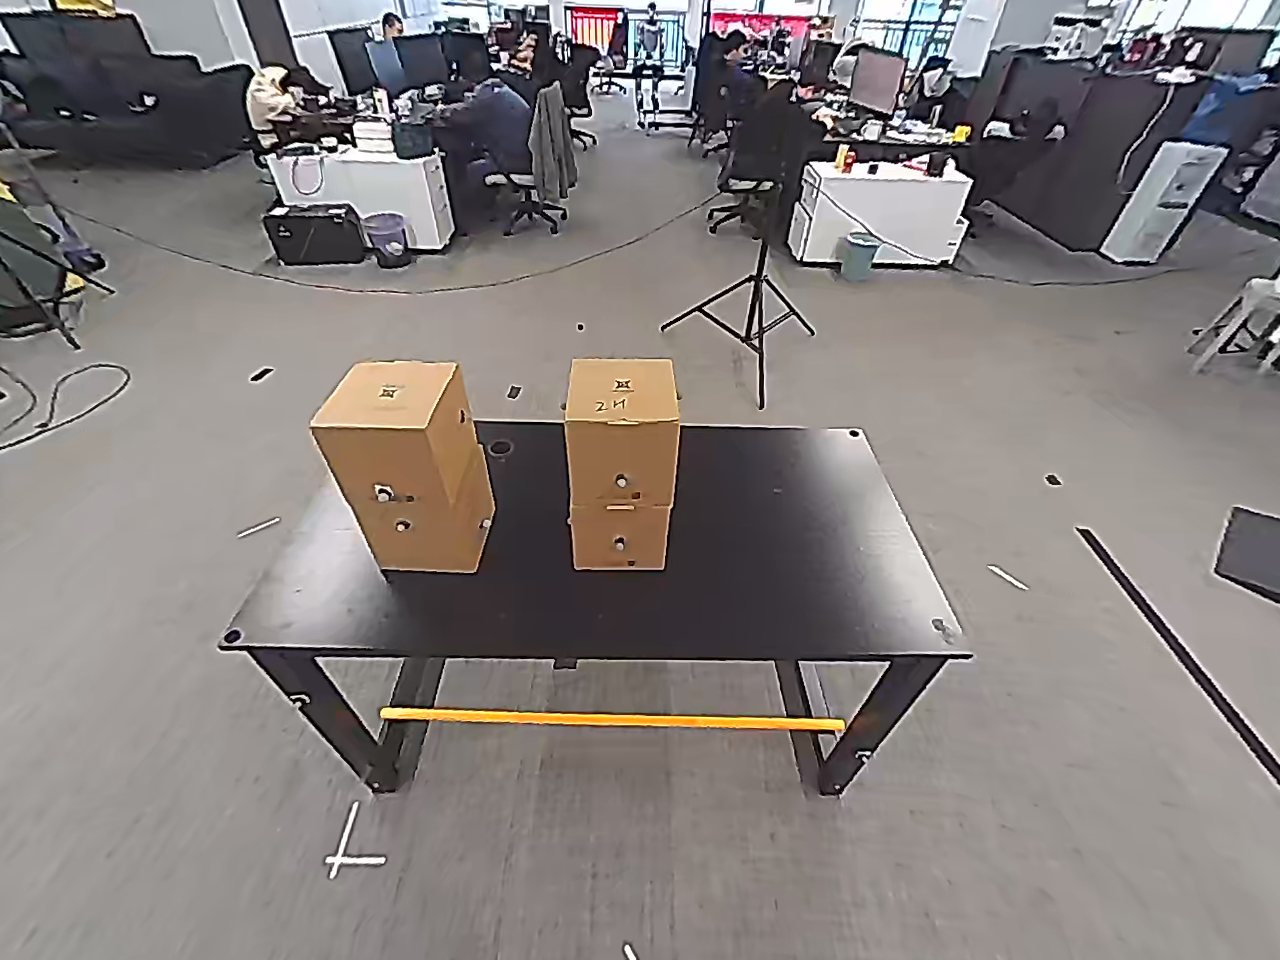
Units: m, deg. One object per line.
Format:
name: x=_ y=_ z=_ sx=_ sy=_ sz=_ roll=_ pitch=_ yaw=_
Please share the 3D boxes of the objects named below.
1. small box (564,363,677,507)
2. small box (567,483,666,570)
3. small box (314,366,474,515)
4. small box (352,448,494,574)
small box: x=-0.032 y=-0.075 z=0.890 sx=0.168 sy=0.176 sz=0.179 roll=0 pitch=42 yaw=-2
small box: x=-0.039 y=0.051 z=0.997 sx=0.168 sy=0.176 sz=0.179 roll=0 pitch=42 yaw=-2
small box: x=-0.375 y=-0.064 z=0.866 sx=0.168 sy=0.176 sz=0.179 roll=0 pitch=43 yaw=0
small box: x=-0.377 y=0.055 z=0.977 sx=0.179 sy=0.176 sz=0.168 roll=3 pitch=42 yaw=-1
